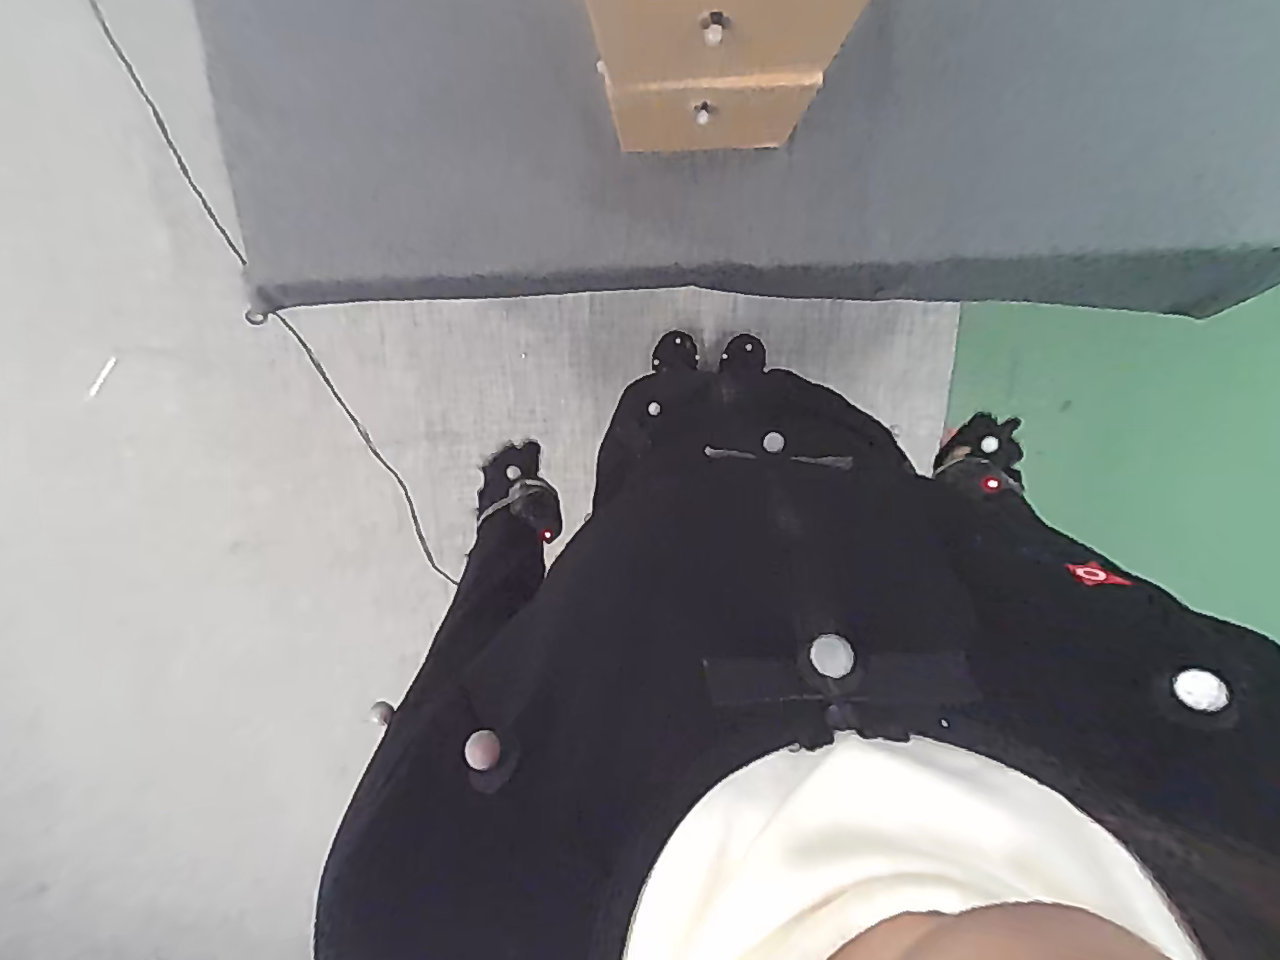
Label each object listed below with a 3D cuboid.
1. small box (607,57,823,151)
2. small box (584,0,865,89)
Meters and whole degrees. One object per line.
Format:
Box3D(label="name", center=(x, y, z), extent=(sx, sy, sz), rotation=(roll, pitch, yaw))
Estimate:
Box3D(label="small box", center=(0.064, -0.417, 0.496), extent=(0.179, 0.176, 0.168), rotation=(0, 107, 2))
Box3D(label="small box", center=(0.054, -0.374, 0.337), extent=(0.179, 0.176, 0.168), rotation=(-1, 107, 5))
